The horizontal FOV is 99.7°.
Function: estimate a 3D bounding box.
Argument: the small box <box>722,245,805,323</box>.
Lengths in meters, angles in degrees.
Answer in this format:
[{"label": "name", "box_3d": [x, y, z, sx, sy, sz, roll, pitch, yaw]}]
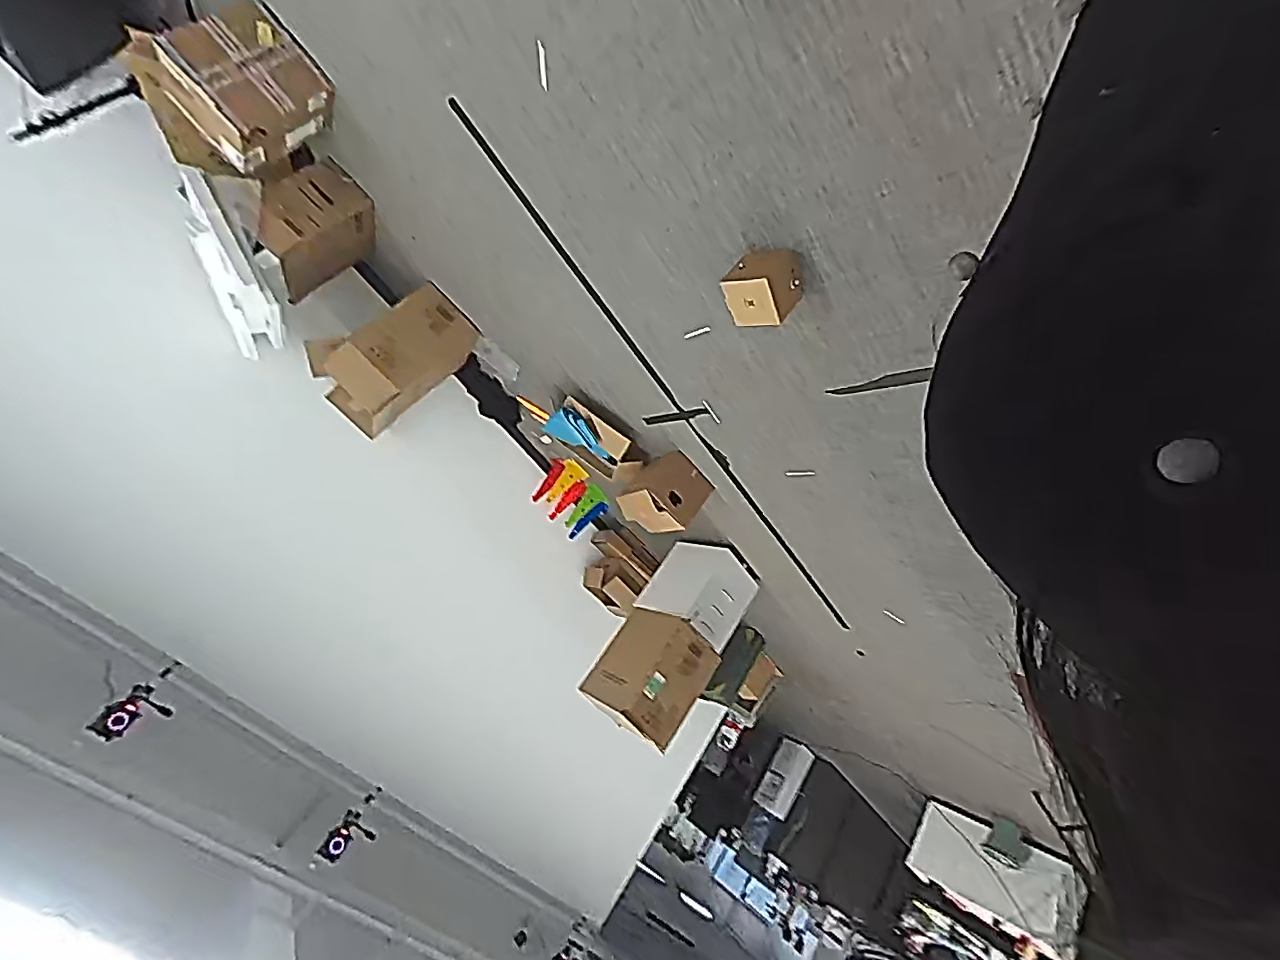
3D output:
[{"label": "small box", "box_3d": [0.396, -0.622, 1.722, 0.179, 0.176, 0.168, 13, 146, 44]}]
